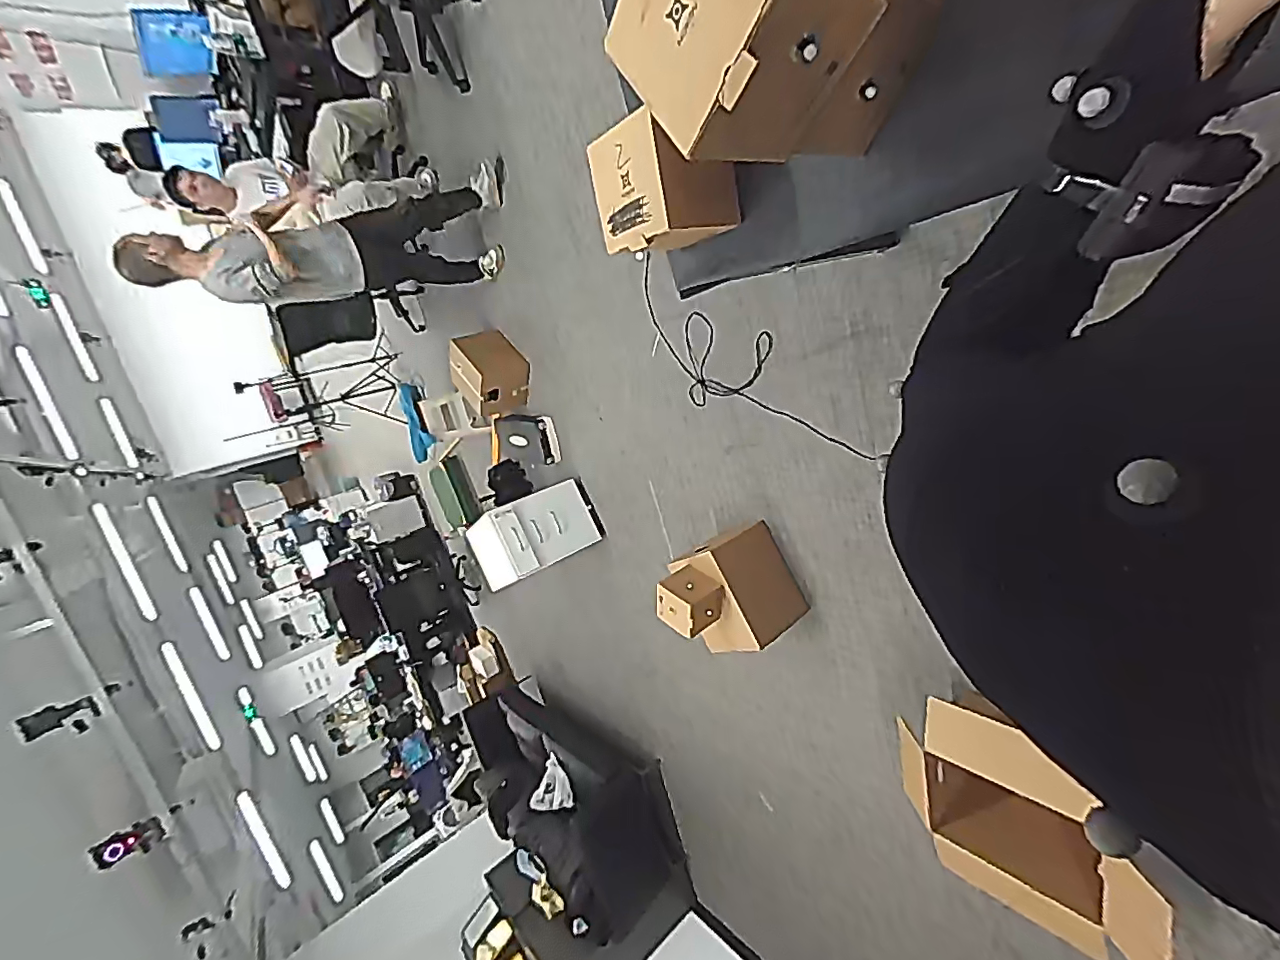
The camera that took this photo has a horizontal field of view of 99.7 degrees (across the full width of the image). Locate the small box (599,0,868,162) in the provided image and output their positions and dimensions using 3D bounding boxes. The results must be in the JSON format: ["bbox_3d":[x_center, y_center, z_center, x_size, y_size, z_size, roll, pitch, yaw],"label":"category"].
[{"bbox_3d":[0.093,-0.461,0.555,0.179,0.176,0.168,59,144,13],"label":"small box"}]

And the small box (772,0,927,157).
[{"bbox_3d":[0.204,-0.522,0.659,0.179,0.176,0.168,51,142,22],"label":"small box"}]

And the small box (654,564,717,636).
[{"bbox_3d":[0.171,0.442,2.023,0.179,0.176,0.168,26,129,40],"label":"small box"}]
